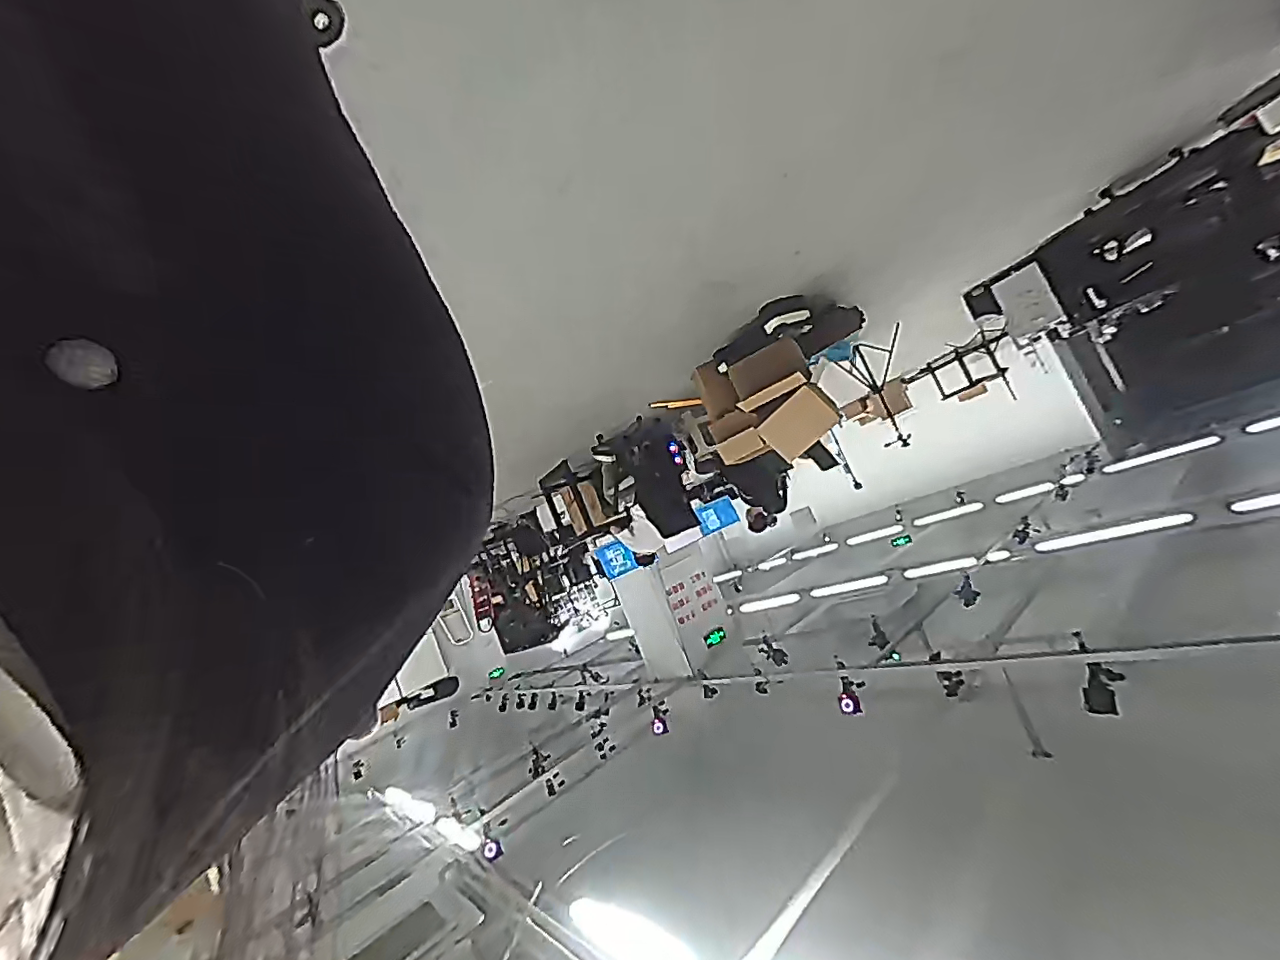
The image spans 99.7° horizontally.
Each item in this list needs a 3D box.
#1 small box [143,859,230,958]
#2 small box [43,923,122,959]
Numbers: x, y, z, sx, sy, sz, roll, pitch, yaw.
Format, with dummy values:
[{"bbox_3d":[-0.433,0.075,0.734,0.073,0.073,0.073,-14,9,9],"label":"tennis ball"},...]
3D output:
[{"bbox_3d":[-1.485,1.393,1.773,0.168,0.176,0.179,-21,171,-34],"label":"small box"},{"bbox_3d":[-1.678,1.476,1.603,0.168,0.176,0.179,-17,170,-36],"label":"small box"}]
